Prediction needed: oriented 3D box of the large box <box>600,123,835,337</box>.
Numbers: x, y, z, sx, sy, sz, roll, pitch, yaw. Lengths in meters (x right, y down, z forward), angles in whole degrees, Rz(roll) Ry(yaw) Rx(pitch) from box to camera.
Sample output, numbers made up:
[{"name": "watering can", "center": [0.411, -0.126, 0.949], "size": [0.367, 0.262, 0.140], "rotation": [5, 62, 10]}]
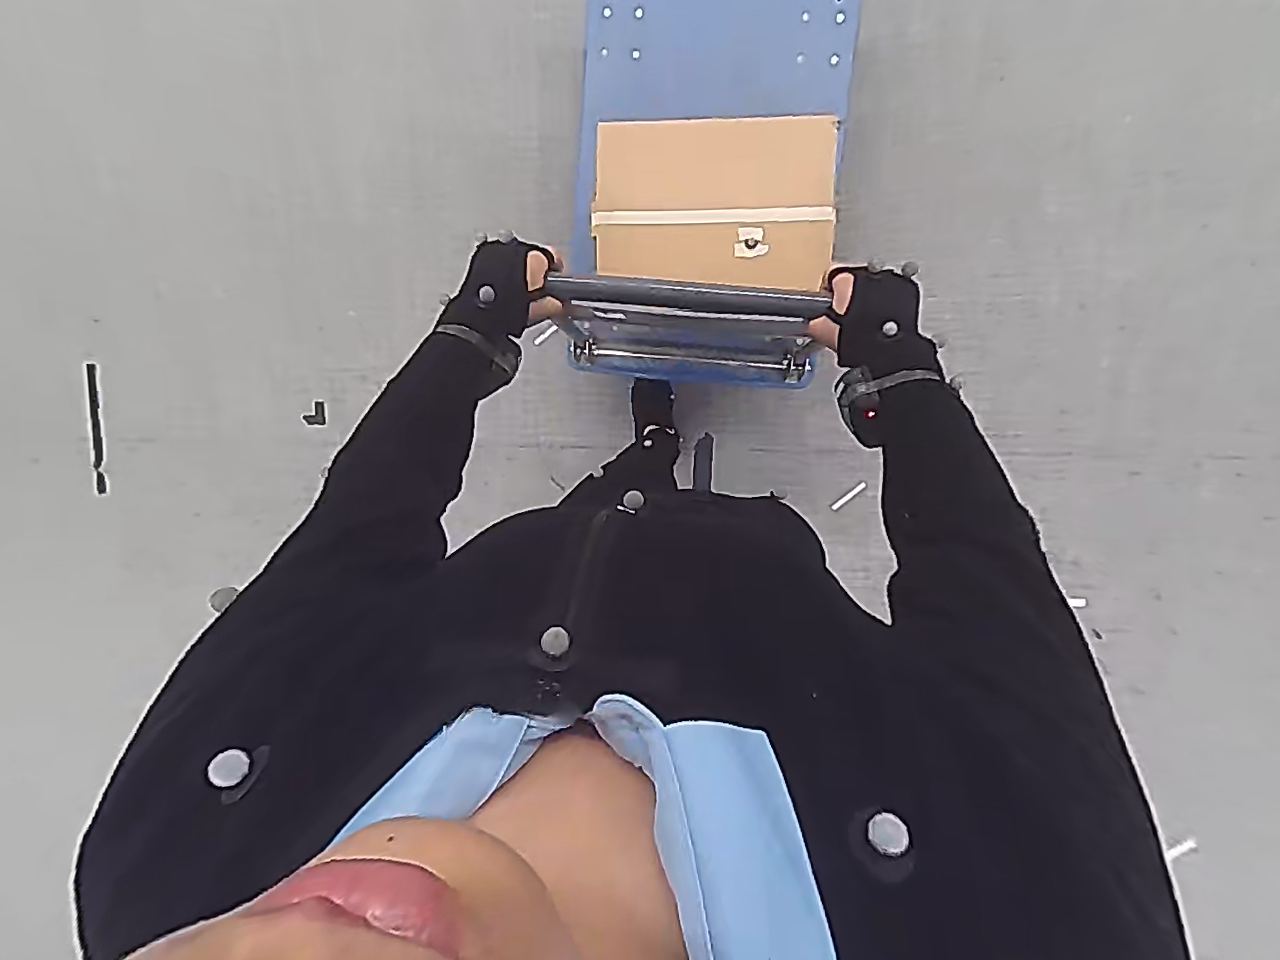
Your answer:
[{"name": "large box", "center": [0.138, -0.467, 1.084], "size": [0.408, 0.320, 0.320], "rotation": [1, 98, 4]}]
